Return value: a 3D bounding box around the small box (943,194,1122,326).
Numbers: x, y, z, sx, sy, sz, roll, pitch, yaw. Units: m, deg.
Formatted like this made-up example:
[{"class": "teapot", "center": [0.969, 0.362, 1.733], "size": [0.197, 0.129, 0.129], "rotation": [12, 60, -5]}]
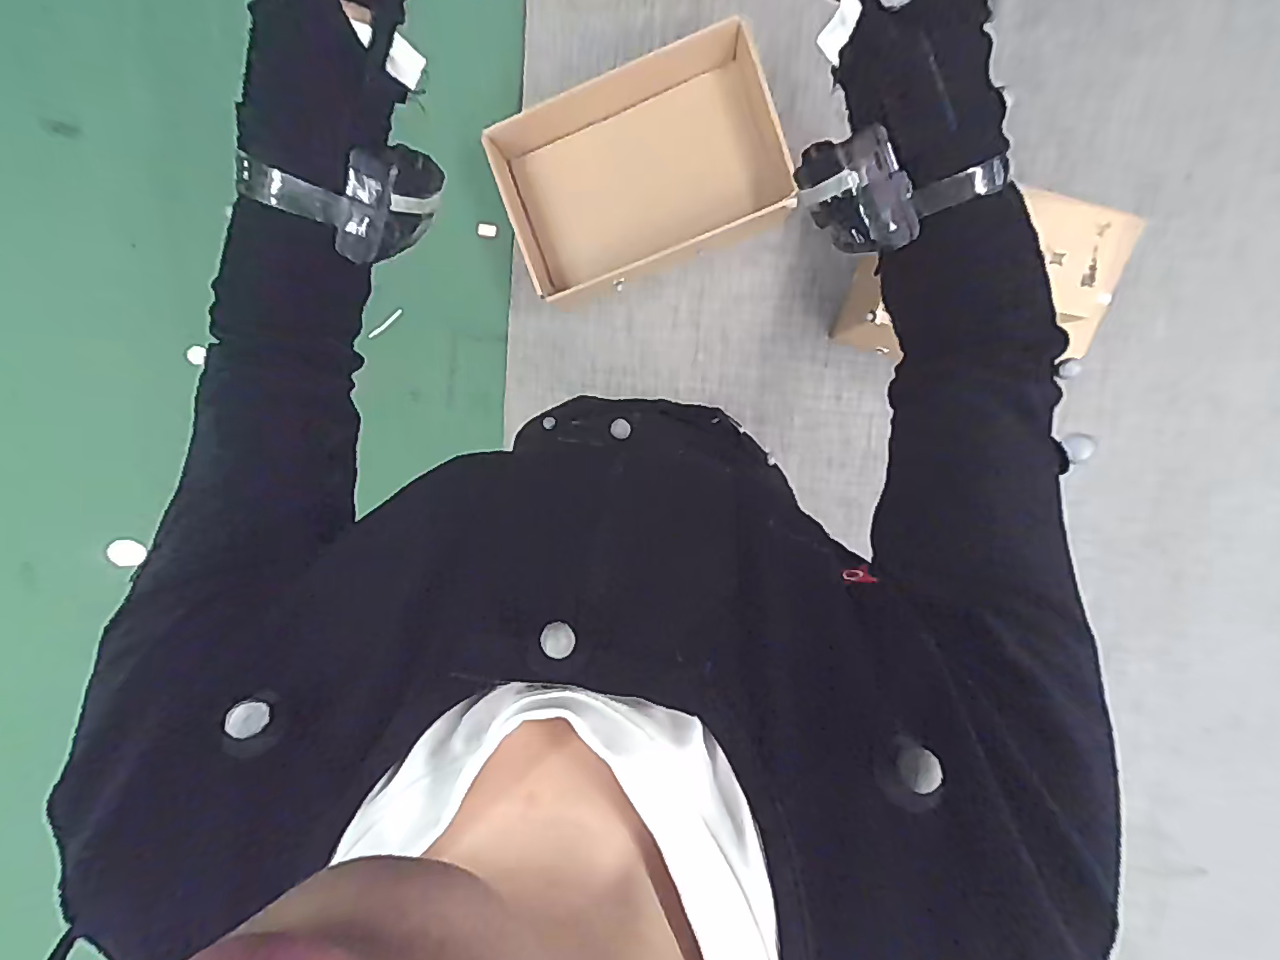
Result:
[{"class": "small box", "center": [0.670, -0.374, 0.949], "size": [0.179, 0.176, 0.168], "rotation": [12, 99, 4]}]
